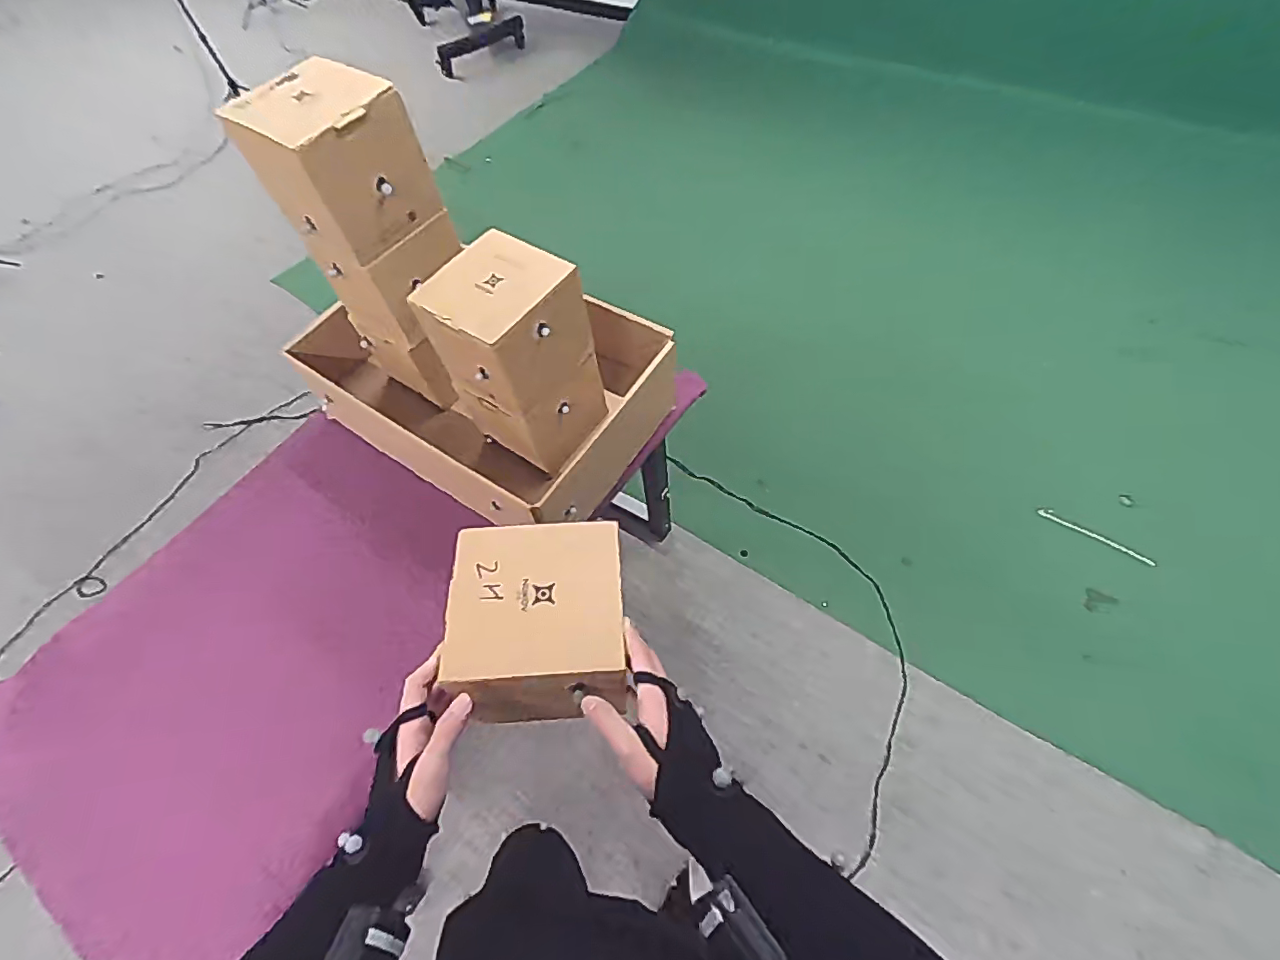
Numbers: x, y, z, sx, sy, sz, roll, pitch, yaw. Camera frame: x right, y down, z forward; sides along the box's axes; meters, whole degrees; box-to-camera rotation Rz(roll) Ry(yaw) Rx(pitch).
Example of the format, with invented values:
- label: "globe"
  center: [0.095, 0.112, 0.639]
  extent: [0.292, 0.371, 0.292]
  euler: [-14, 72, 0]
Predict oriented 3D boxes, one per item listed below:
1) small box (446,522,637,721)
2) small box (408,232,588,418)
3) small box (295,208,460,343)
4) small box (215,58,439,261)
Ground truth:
- label: "small box"
  center: [-0.098, 0.162, 0.606]
  extent: [0.179, 0.176, 0.168]
  euler: [-2, 53, -4]
- label: "small box"
  center: [-0.195, -0.223, 0.802]
  extent: [0.168, 0.176, 0.179]
  euler: [32, 67, 20]
- label: "small box"
  center: [-0.408, -0.356, 0.897]
  extent: [0.179, 0.176, 0.168]
  euler: [31, 67, 19]
- label: "small box"
  center: [-0.418, -0.439, 0.755]
  extent: [0.179, 0.176, 0.168]
  euler: [31, 67, 18]
